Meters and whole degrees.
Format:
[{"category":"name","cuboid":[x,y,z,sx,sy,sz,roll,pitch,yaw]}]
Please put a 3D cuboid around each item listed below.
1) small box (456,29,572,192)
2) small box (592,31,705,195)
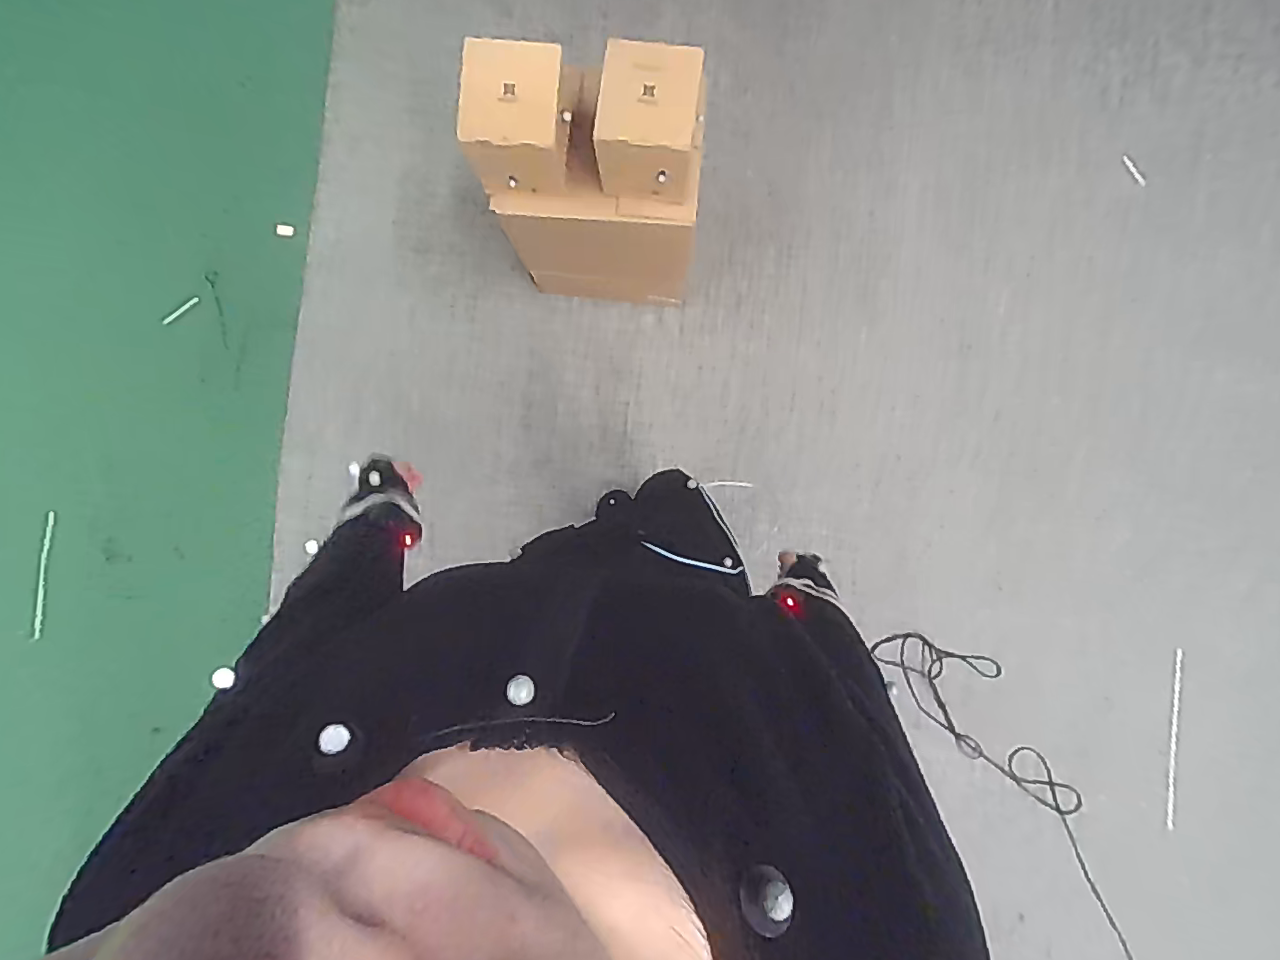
[{"category":"small box","cuboid":[-0.218,-0.657,0.979,0.168,0.176,0.179,5,92,0]},{"category":"small box","cuboid":[0.018,-0.646,0.971,0.168,0.176,0.179,9,89,2]}]
